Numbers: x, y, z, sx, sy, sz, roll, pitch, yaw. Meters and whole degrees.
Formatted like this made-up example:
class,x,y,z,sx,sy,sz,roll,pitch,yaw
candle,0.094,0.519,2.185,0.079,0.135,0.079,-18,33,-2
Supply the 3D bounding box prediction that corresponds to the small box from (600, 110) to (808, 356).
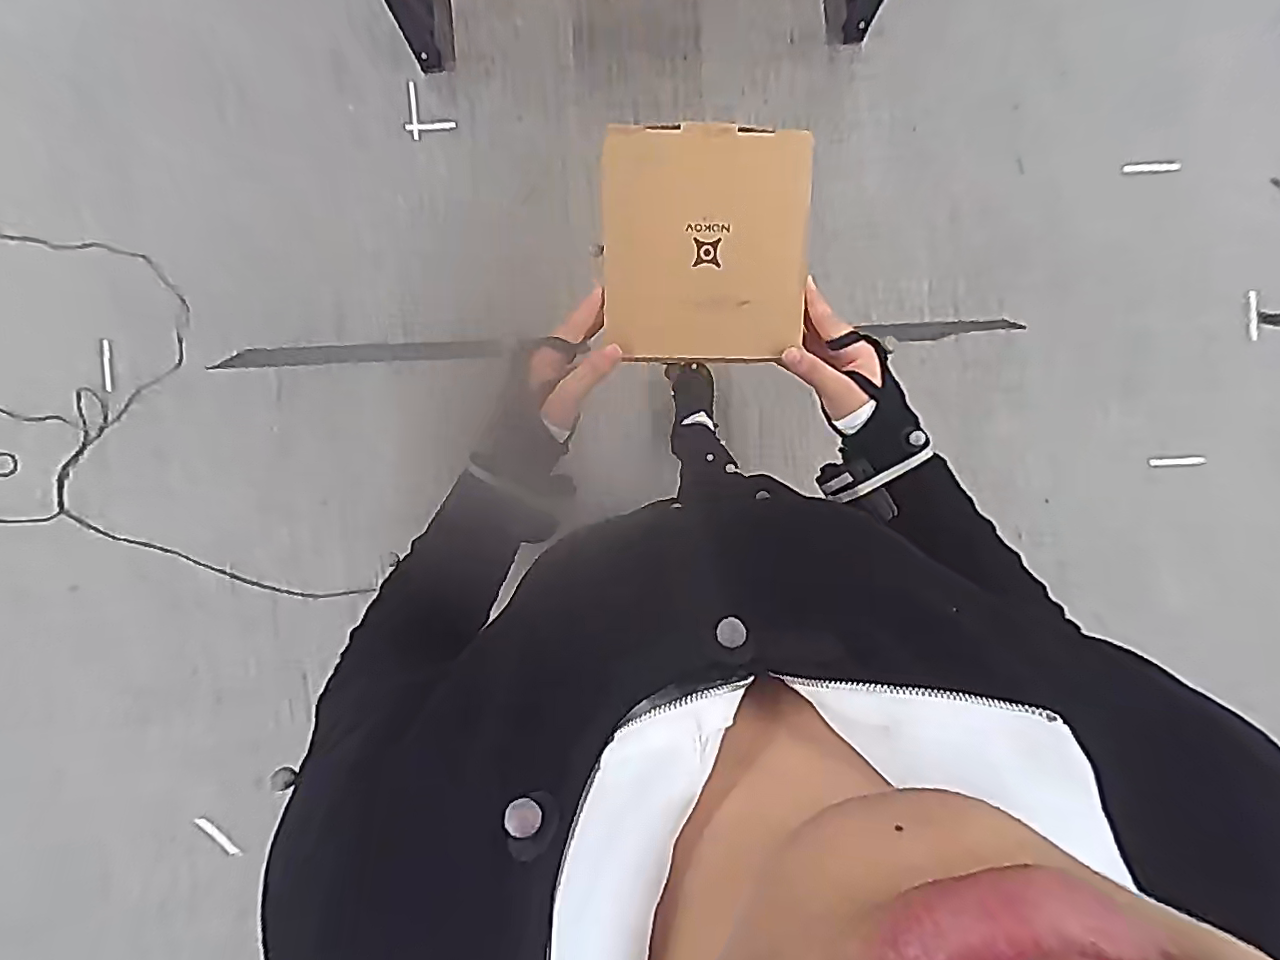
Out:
class,x,y,z,sx,sy,sz,roll,pitch,yaw
small box,0.045,-0.213,0.513,0.168,0.176,0.179,0,101,-3
